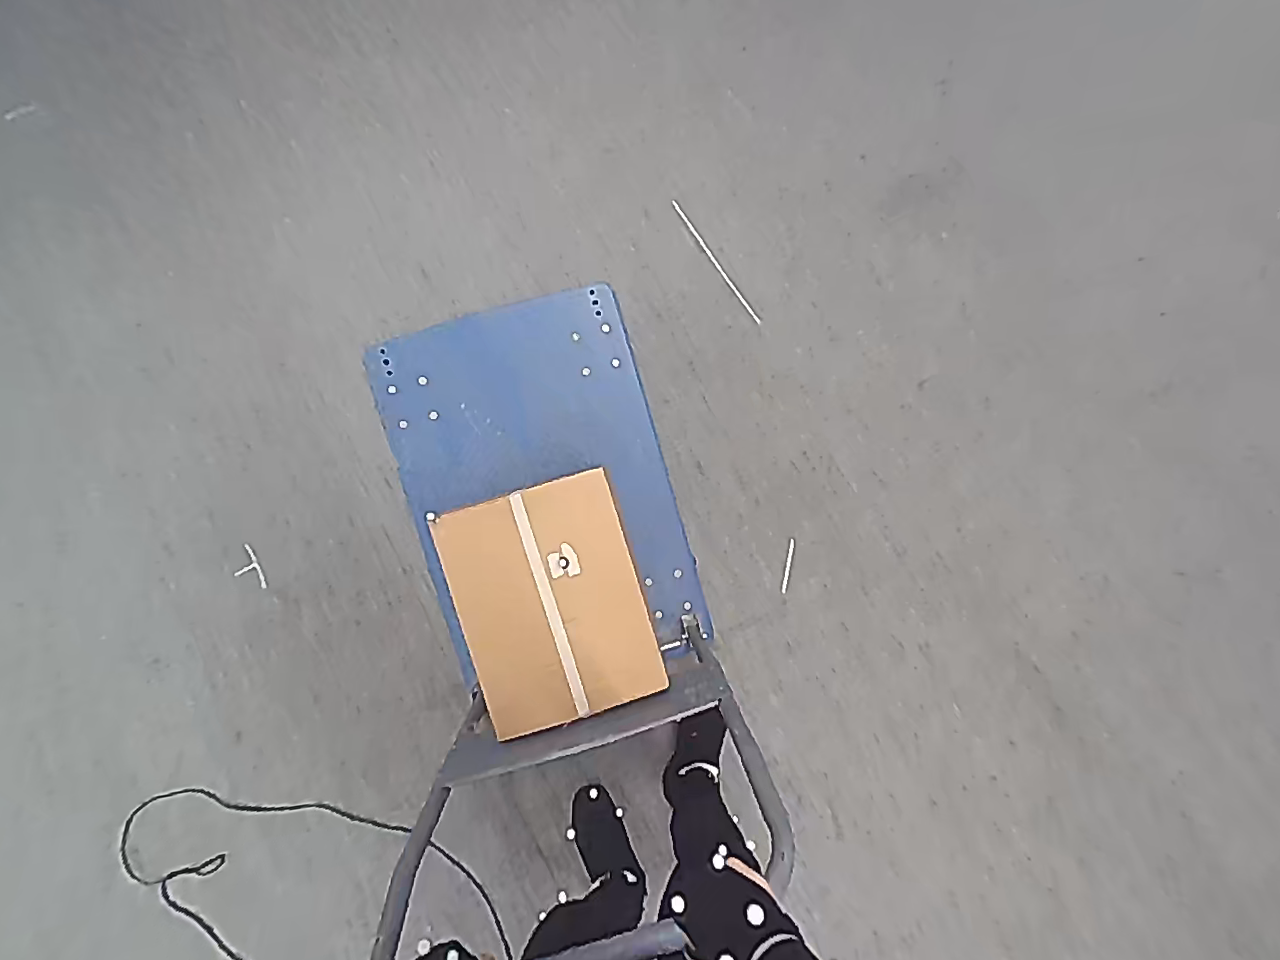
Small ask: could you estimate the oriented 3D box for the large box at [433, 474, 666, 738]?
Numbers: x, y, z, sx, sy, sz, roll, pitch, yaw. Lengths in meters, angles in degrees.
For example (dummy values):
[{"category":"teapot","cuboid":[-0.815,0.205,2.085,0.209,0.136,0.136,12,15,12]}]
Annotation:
[{"category":"large box","cuboid":[-0.159,0.222,1.097,0.320,0.320,0.408,-17,92,-2]}]
